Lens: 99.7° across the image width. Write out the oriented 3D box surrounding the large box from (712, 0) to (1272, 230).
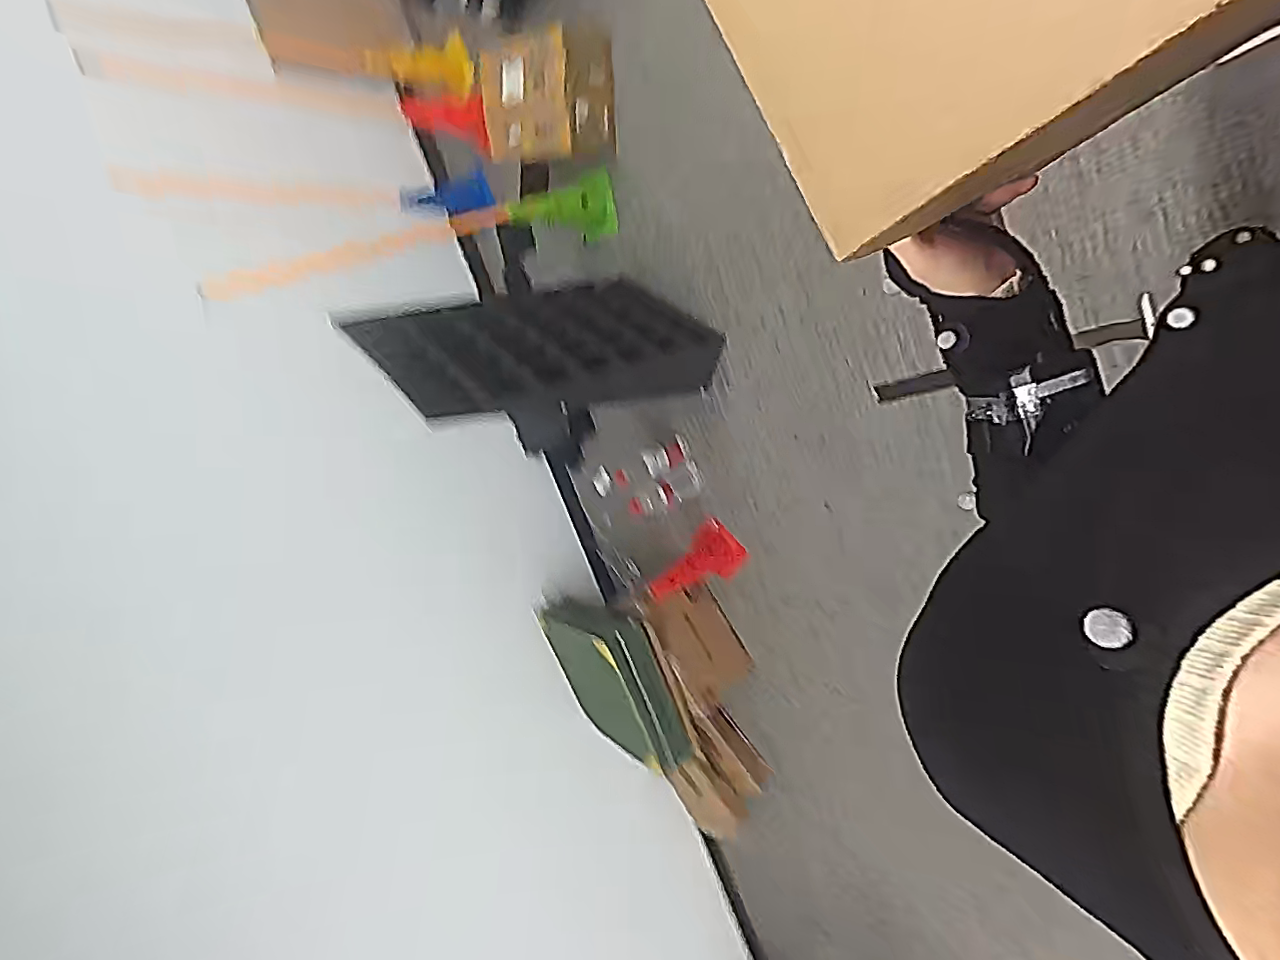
[{"bbox_3d":[0.231,-0.367,0.185,0.320,0.320,0.408,60,151,-6],"label":"large box"}]
